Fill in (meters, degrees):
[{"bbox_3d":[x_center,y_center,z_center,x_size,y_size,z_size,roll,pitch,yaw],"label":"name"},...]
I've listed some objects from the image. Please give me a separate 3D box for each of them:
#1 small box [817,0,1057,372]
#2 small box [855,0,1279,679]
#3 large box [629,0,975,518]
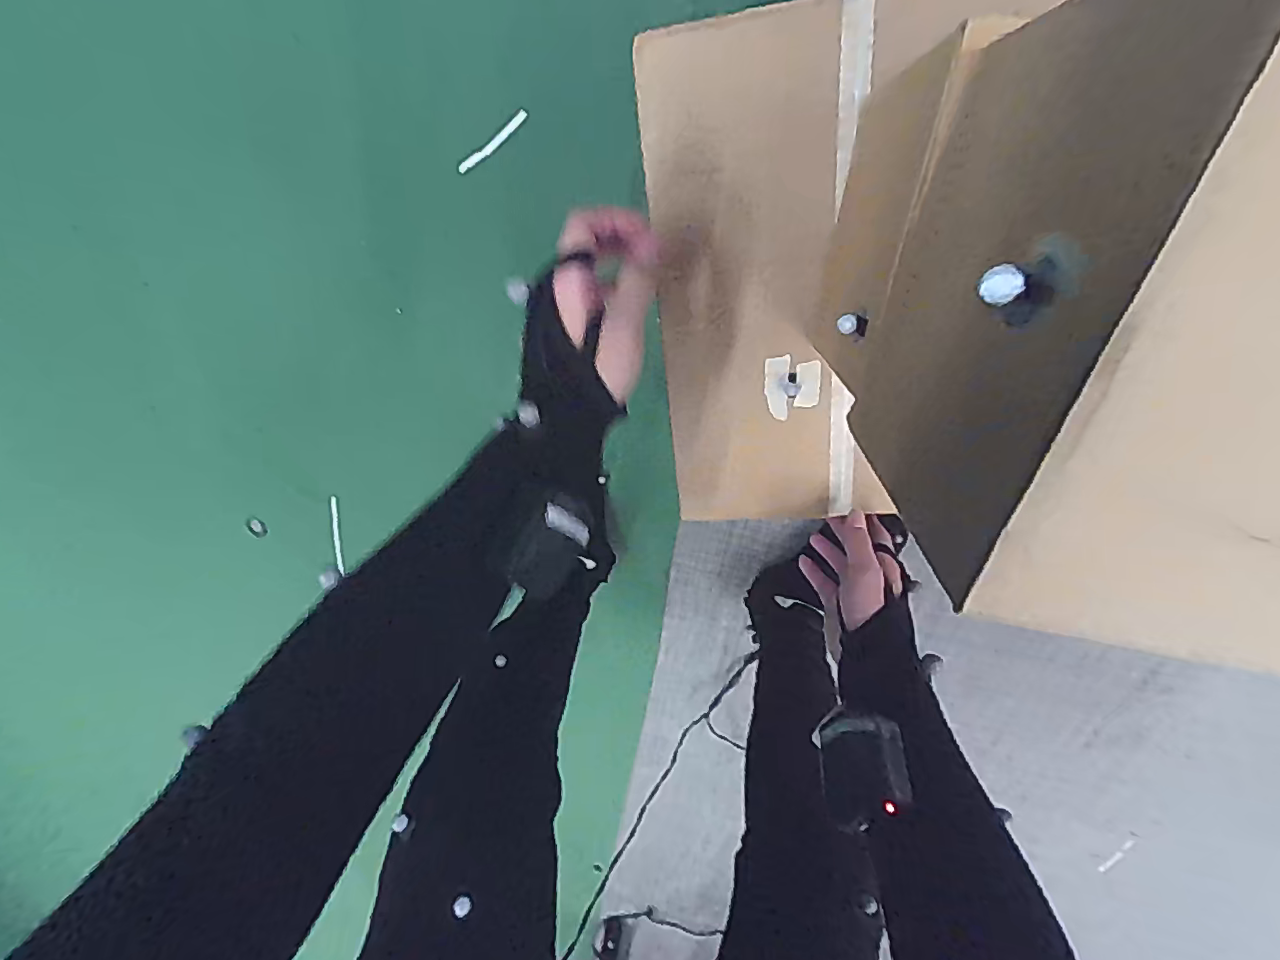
[{"bbox_3d":[0.215,-0.145,0.322,0.168,0.176,0.179,6,117,4],"label":"small box"},{"bbox_3d":[0.193,-0.057,0.186,0.168,0.176,0.179,11,118,3],"label":"small box"},{"bbox_3d":[0.192,-0.215,0.568,0.320,0.320,0.408,-3,116,12],"label":"large box"}]
